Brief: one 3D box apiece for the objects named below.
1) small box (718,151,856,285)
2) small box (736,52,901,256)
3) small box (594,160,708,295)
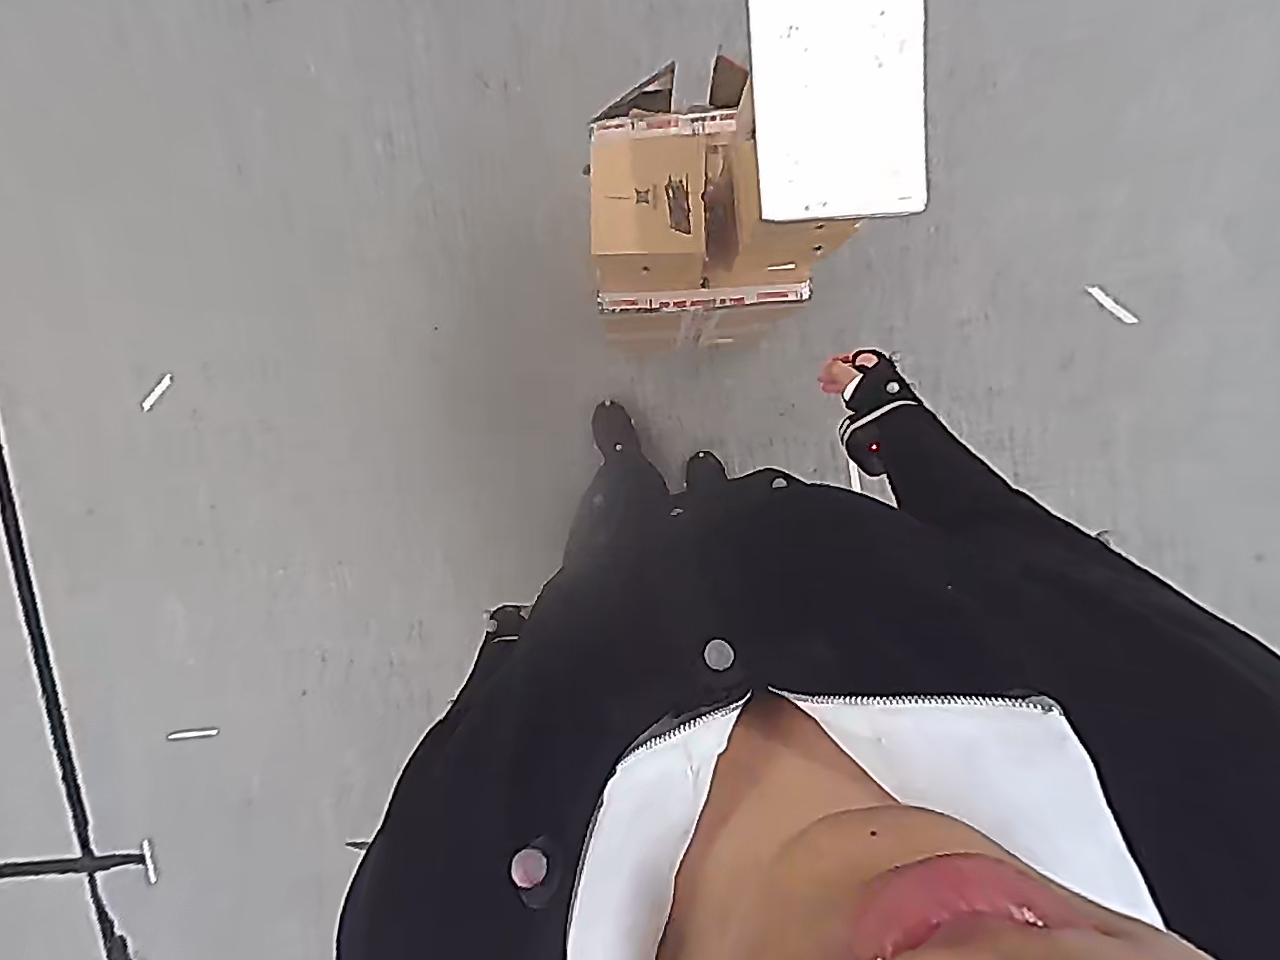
[{"bbox_3d":[0.235,-0.437,0.898,0.179,0.176,0.168,-8,96,2],"label":"small box"},{"bbox_3d":[0.230,-0.427,0.735,0.168,0.176,0.179,-6,96,1],"label":"small box"},{"bbox_3d":[0.020,-0.414,0.907,0.179,0.176,0.168,1,97,4],"label":"small box"}]
